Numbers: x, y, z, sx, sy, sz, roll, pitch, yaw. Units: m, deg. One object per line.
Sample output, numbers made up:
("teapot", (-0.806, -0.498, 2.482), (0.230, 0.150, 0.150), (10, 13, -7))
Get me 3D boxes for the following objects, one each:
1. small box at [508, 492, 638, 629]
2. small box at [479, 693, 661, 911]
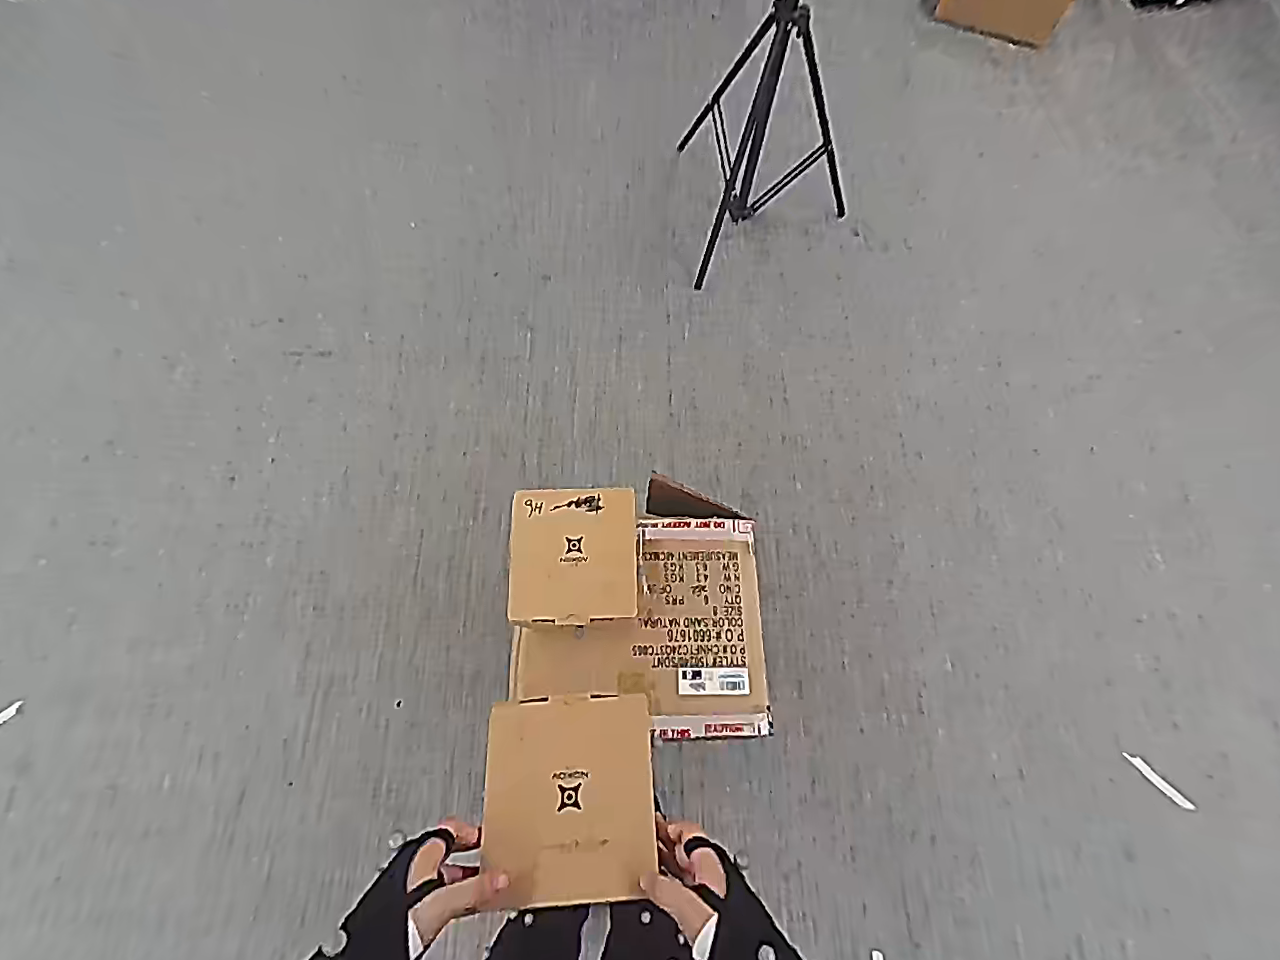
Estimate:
("small box", (-0.086, 0.123, 0.777), (0.168, 0.176, 0.179), (-1, 73, -1))
("small box", (-0.068, 0.345, 0.595), (0.168, 0.176, 0.179), (-4, 60, -2))
